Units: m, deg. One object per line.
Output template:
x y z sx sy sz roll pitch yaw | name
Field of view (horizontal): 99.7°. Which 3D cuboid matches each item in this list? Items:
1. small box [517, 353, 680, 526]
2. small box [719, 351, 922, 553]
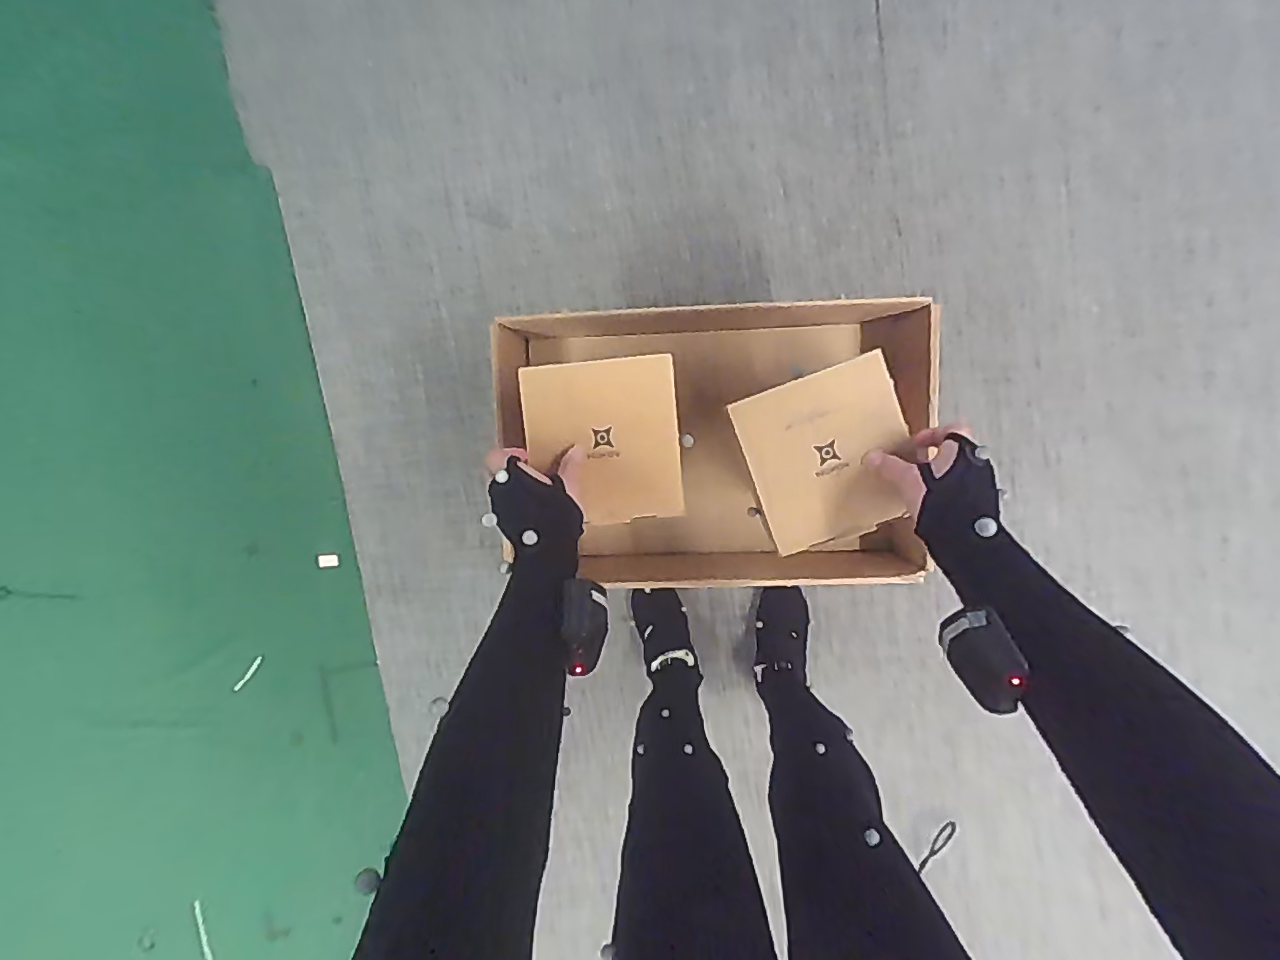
-0.043 -0.048 0.663 0.168 0.176 0.179 -6 95 2 | small box
0.199 -0.035 0.644 0.168 0.176 0.179 -20 93 9 | small box
